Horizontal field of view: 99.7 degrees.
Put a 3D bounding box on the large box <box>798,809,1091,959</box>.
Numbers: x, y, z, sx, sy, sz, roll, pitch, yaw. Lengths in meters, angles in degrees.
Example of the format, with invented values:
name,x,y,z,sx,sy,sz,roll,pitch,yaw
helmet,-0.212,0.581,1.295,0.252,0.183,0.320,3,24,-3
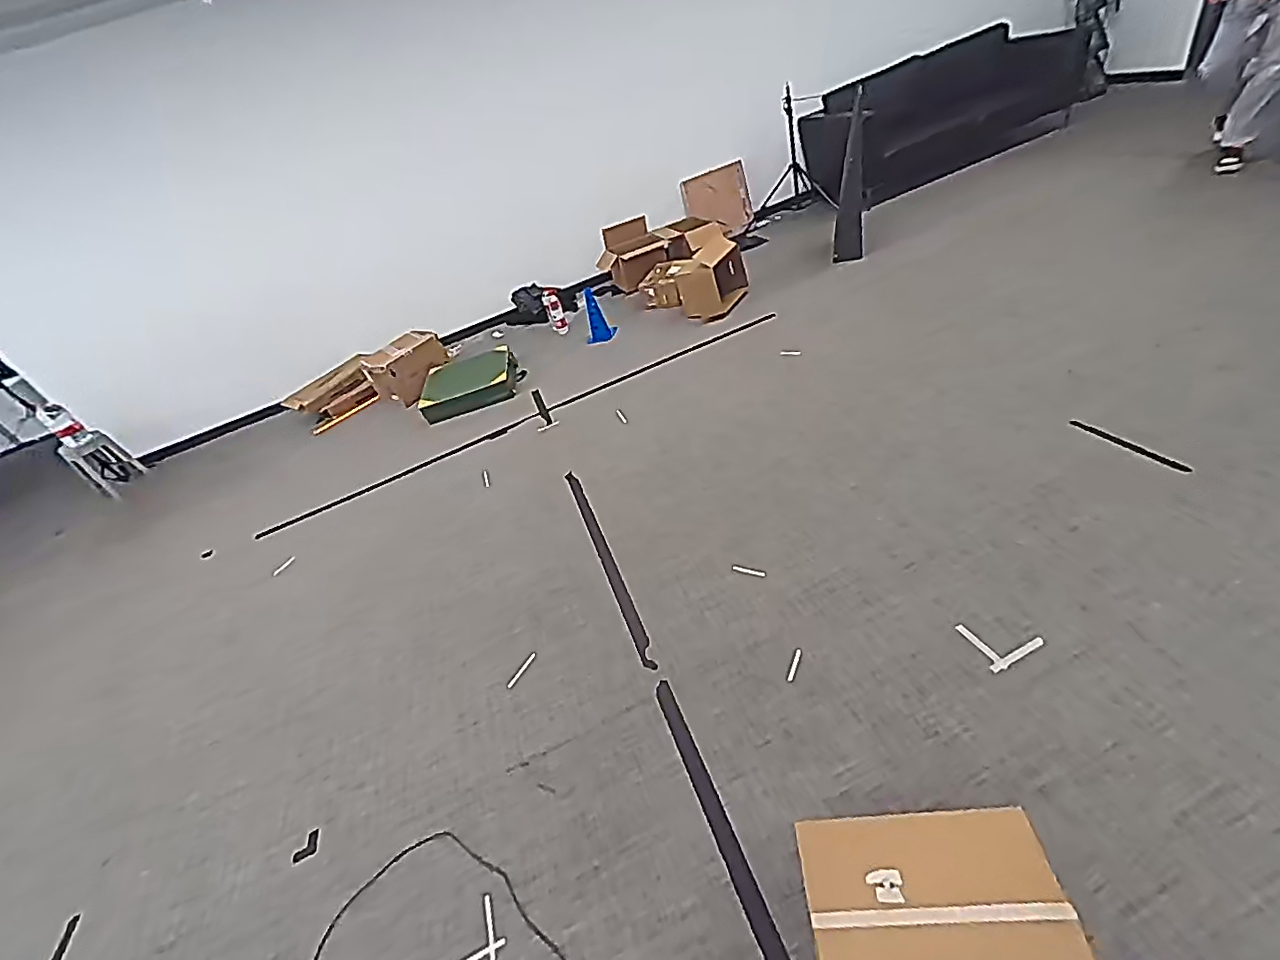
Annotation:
name,x,y,z,sx,sy,sz,roll,pitch,yaw
large box,0.538,0.845,0.983,0.408,0.320,0.320,-12,36,11
